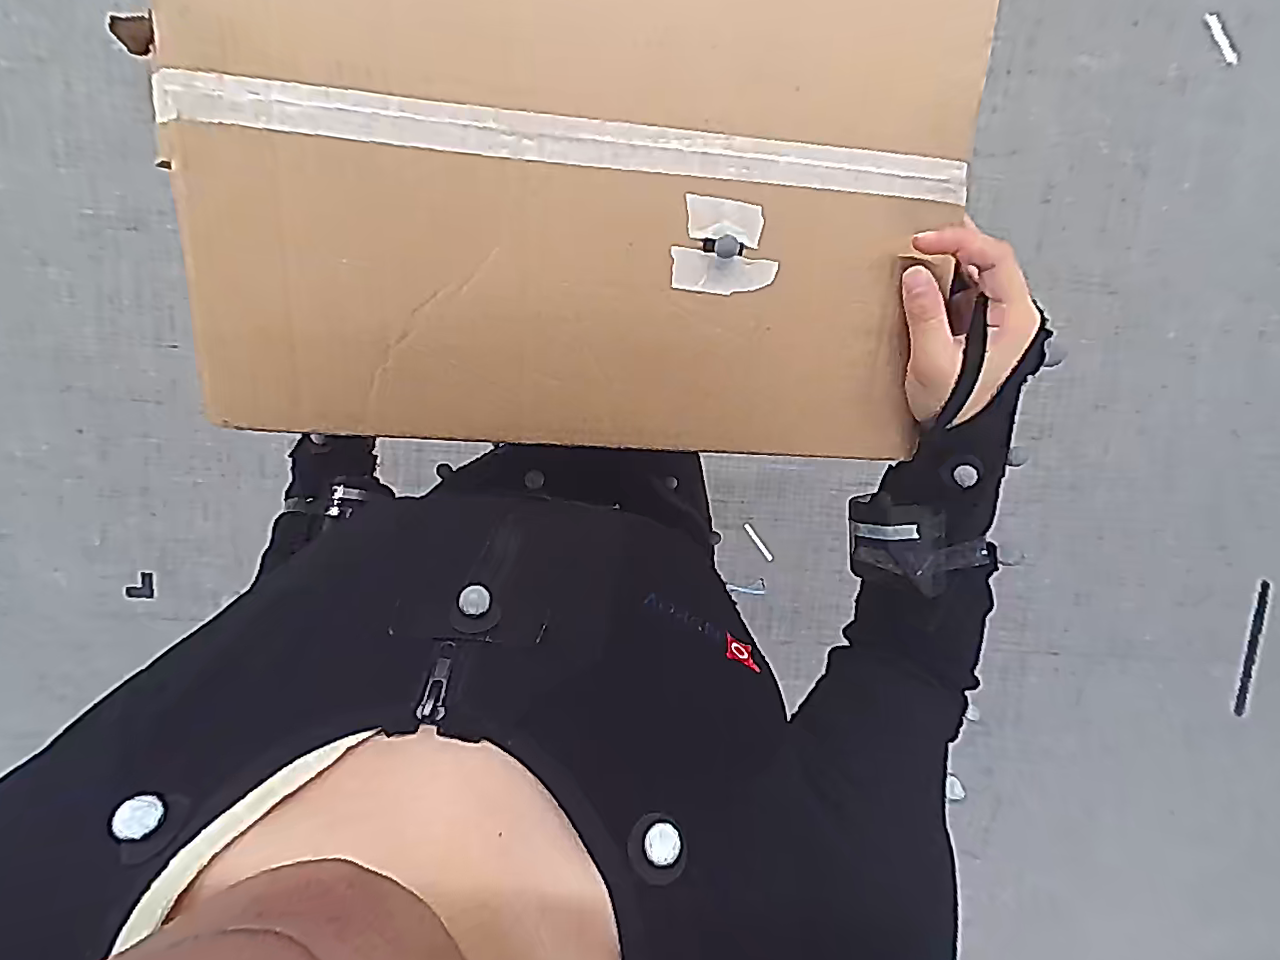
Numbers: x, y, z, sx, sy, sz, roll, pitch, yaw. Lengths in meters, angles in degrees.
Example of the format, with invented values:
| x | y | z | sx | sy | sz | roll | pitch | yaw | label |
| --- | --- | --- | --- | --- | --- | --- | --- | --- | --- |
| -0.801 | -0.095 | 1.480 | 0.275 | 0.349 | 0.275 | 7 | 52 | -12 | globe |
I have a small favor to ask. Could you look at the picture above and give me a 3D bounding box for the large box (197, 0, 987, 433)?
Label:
| x | y | z | sx | sy | sz | roll | pitch | yaw | label |
| --- | --- | --- | --- | --- | --- | --- | --- | --- | --- |
| -0.034 | -0.217 | 0.430 | 0.408 | 0.320 | 0.320 | 2 | 104 | -9 | large box |
